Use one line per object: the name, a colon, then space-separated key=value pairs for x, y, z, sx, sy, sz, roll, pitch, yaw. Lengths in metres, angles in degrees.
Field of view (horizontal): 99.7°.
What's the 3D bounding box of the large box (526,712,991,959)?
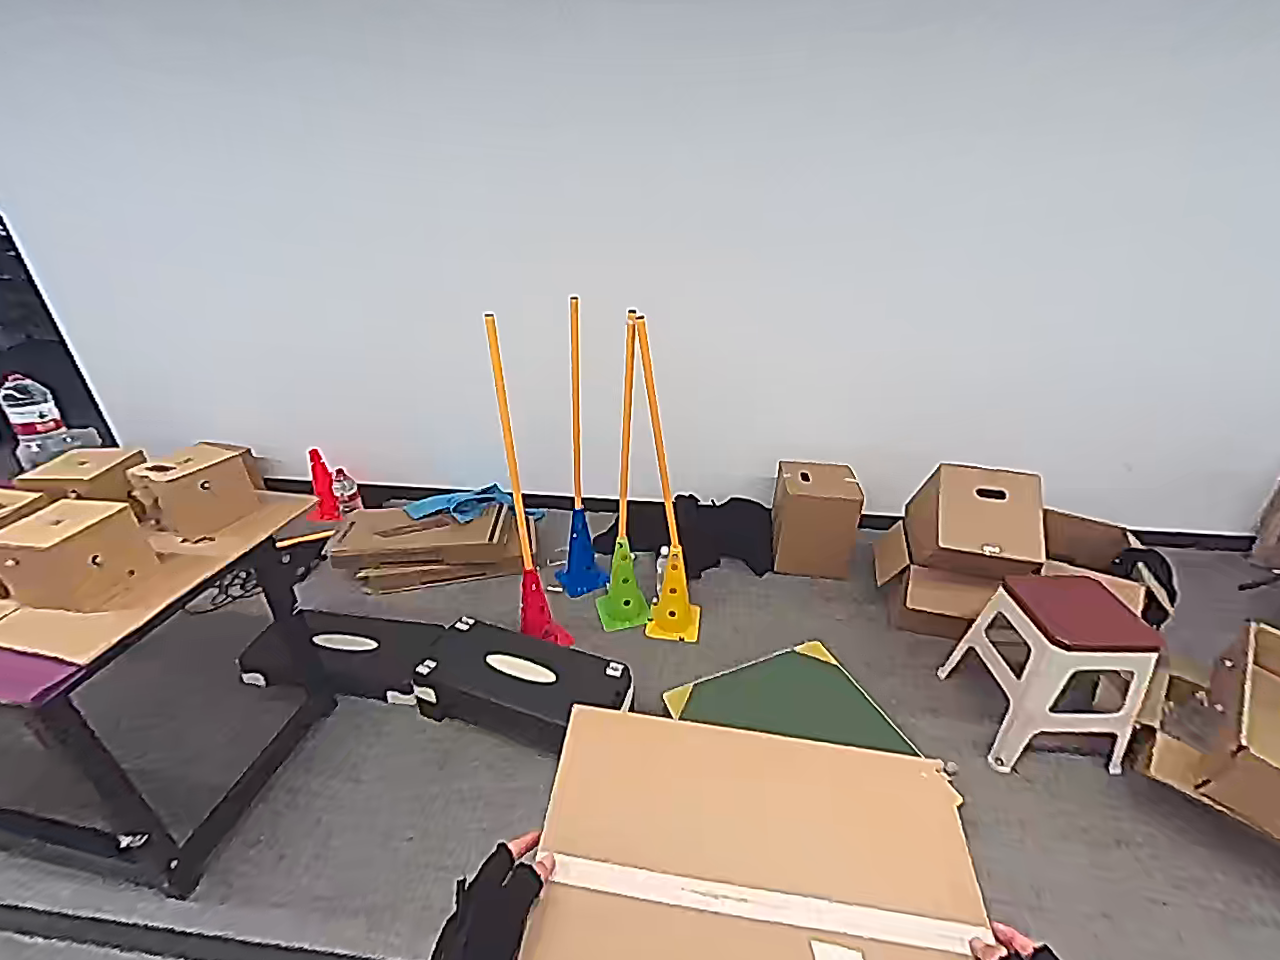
large box: x=0.102 y=0.500 z=0.587 sx=0.408 sy=0.320 sz=0.320 roll=7 pitch=40 yaw=6
